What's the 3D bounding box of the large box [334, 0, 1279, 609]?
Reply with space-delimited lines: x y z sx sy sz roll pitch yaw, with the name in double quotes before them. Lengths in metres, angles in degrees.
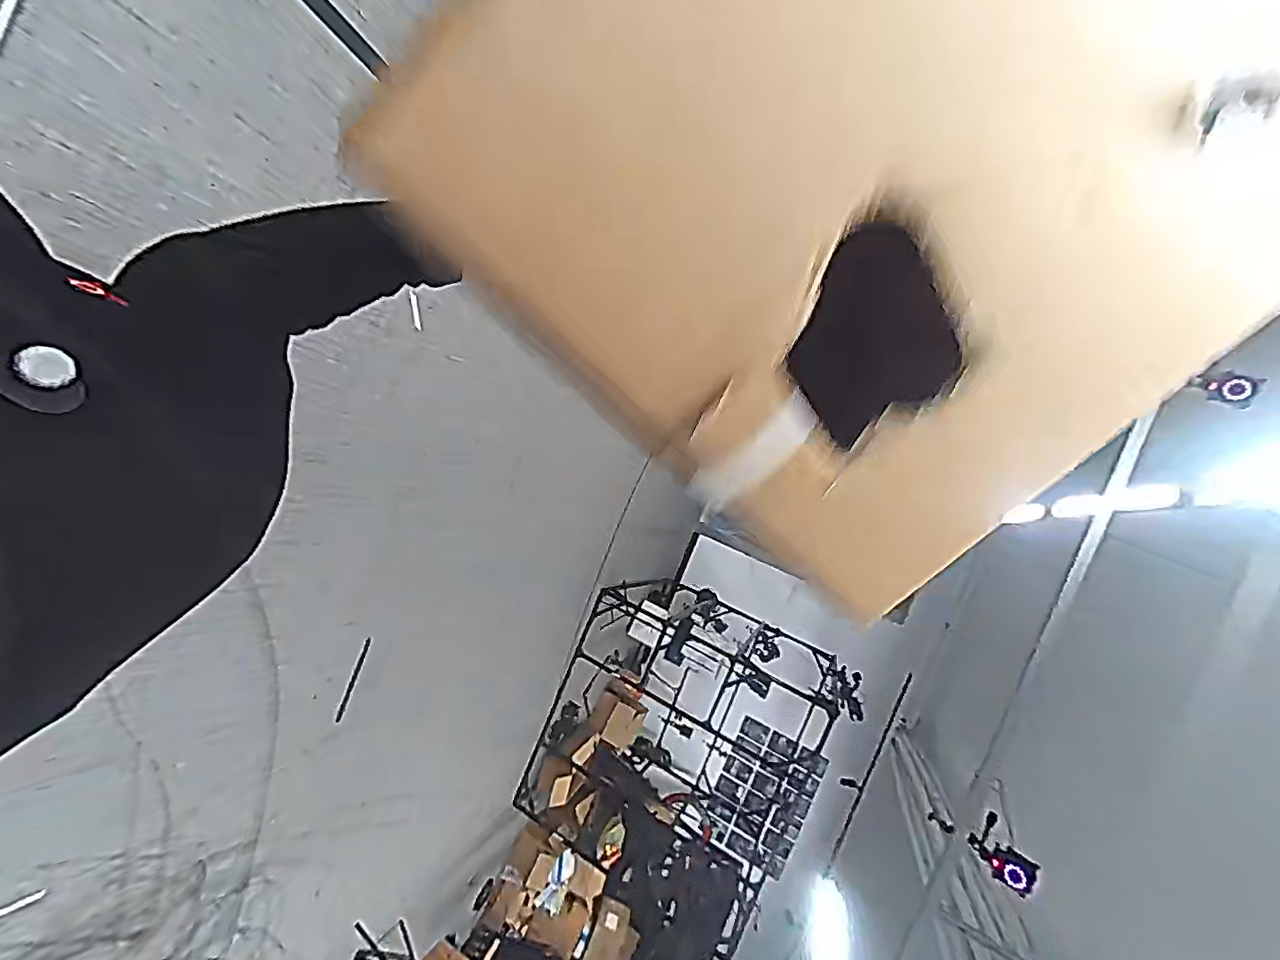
"large box" 0.071 -0.205 0.345 0.320 0.408 0.320 -40 129 12
